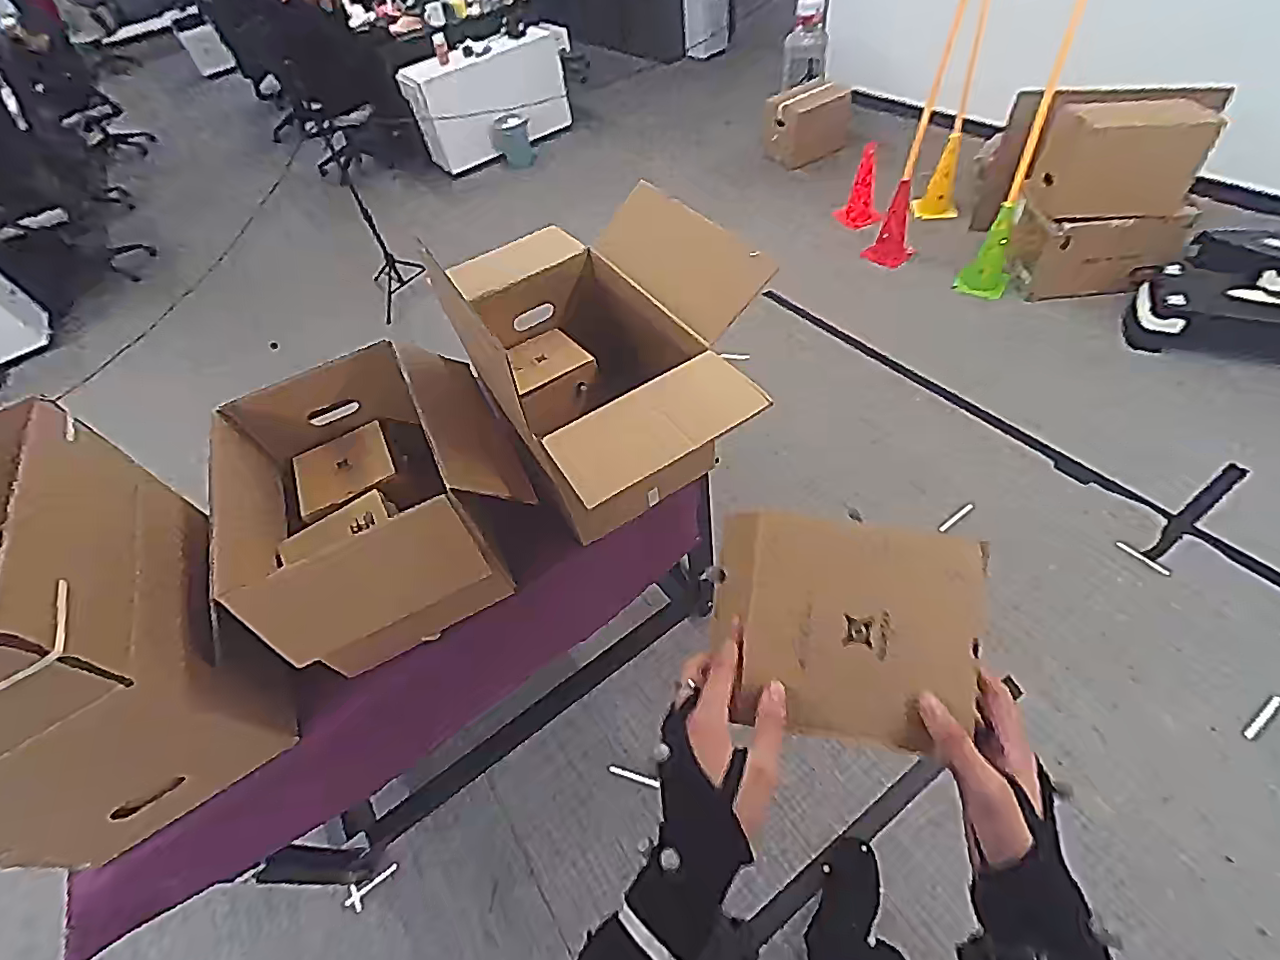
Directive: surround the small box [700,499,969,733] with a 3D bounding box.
[{"bbox_3d":[0.161,0.111,0.498,0.179,0.176,0.168,7,85,-2],"label":"small box"}]
